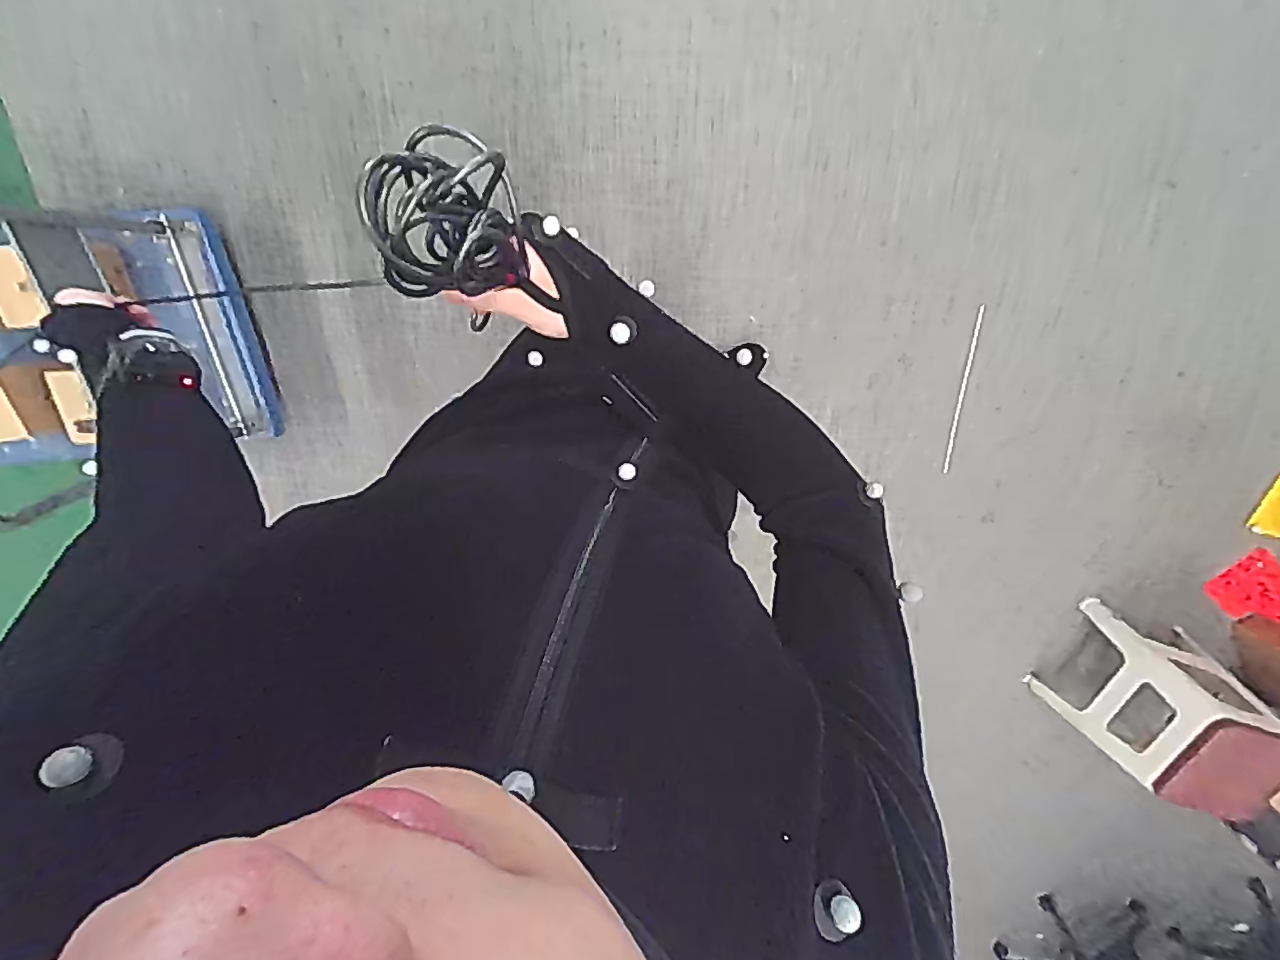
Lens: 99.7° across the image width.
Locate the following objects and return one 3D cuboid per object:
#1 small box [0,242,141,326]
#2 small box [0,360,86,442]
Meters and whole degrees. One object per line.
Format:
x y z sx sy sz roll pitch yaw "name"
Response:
-1.326 -0.449 1.244 0.179 0.176 0.168 -4 111 2 "small box"
-1.554 -0.196 1.346 0.179 0.176 0.168 -8 110 4 "small box"
